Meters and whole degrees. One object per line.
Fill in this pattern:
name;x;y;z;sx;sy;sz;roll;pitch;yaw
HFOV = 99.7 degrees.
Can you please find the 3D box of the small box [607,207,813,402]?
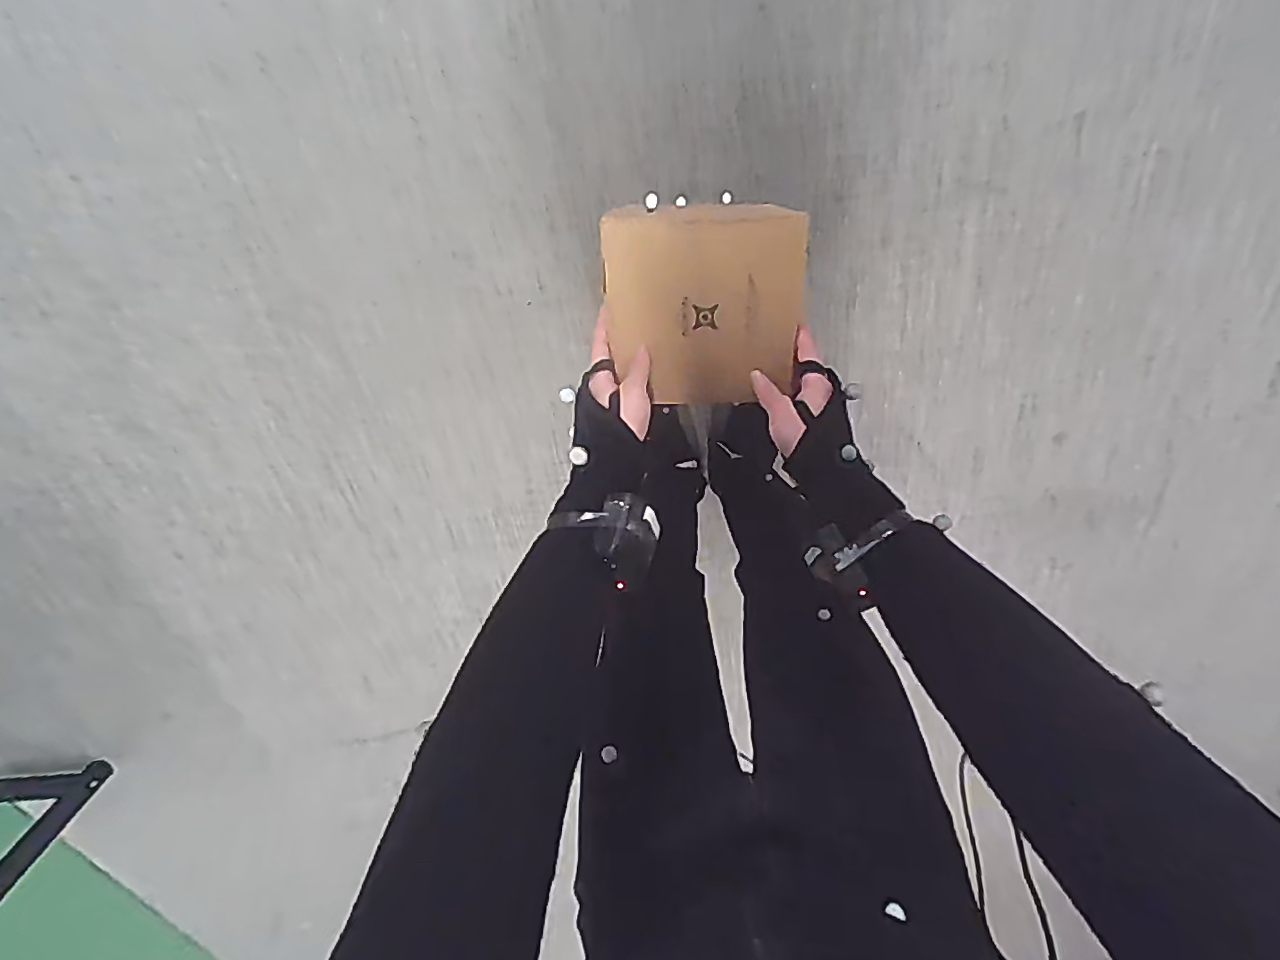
small box;0.063;-0.188;0.563;0.179;0.176;0.168;-2;119;2
